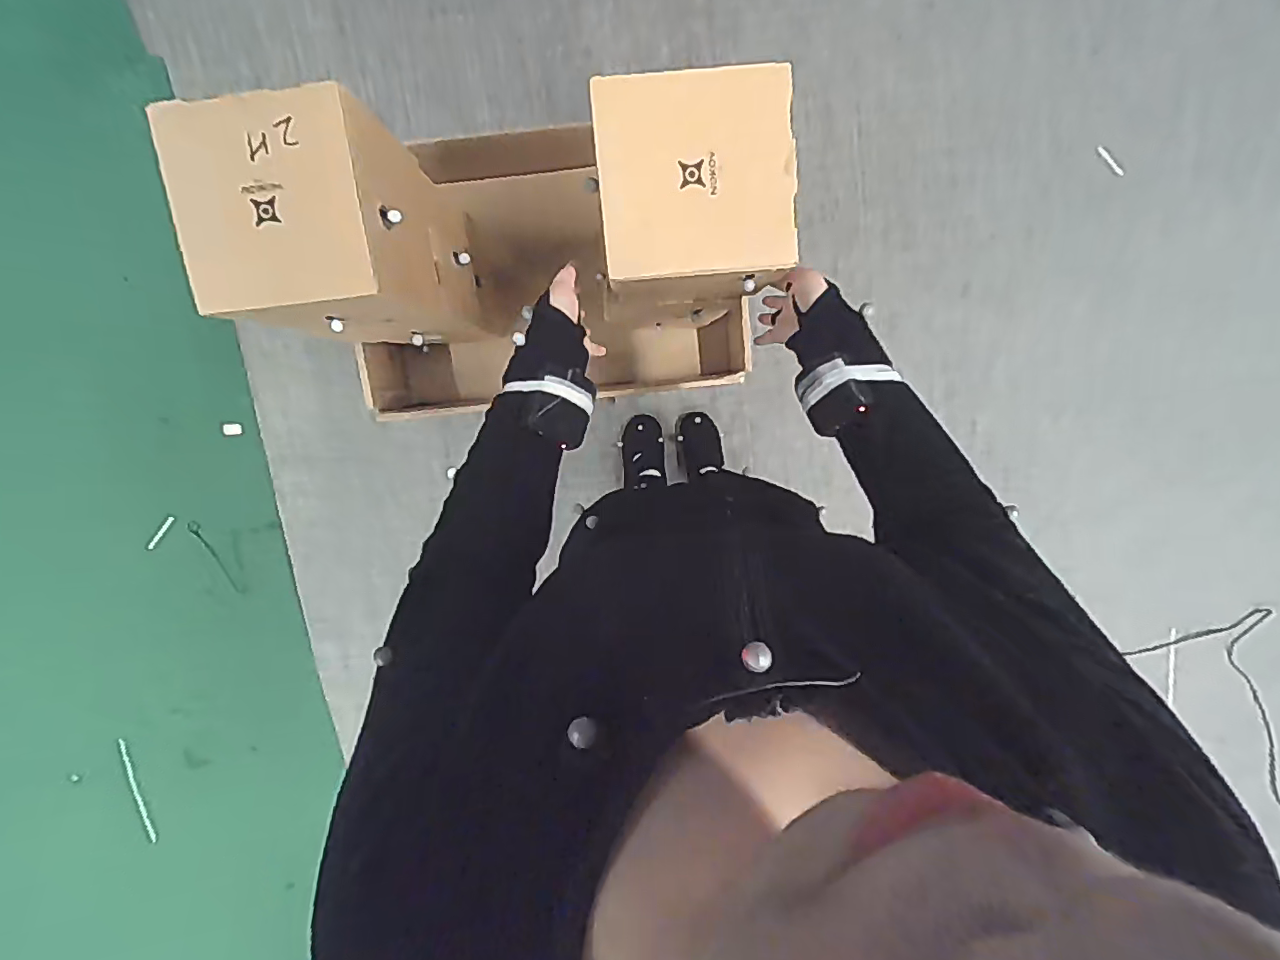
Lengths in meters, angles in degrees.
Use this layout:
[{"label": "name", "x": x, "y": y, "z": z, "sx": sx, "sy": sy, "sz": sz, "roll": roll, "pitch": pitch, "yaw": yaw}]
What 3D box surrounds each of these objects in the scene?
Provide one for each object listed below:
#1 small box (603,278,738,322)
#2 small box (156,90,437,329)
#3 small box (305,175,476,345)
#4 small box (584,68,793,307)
[{"label": "small box", "x": 0.037, "y": -0.306, "z": 0.713, "sx": 0.168, "sy": 0.176, "sz": 0.179, "roll": 0, "pitch": 99, "yaw": -2}, {"label": "small box", "x": -0.325, "y": -0.253, "z": 0.553, "sx": 0.168, "sy": 0.176, "sz": 0.179, "roll": -6, "pitch": 99, "yaw": 1}, {"label": "small box", "x": -0.329, "y": -0.278, "z": 0.717, "sx": 0.179, "sy": 0.176, "sz": 0.168, "roll": -8, "pitch": 99, "yaw": 0}, {"label": "small box", "x": 0.043, "y": -0.278, "z": 0.553, "sx": 0.179, "sy": 0.176, "sz": 0.168, "roll": -6, "pitch": 100, "yaw": -1}]
